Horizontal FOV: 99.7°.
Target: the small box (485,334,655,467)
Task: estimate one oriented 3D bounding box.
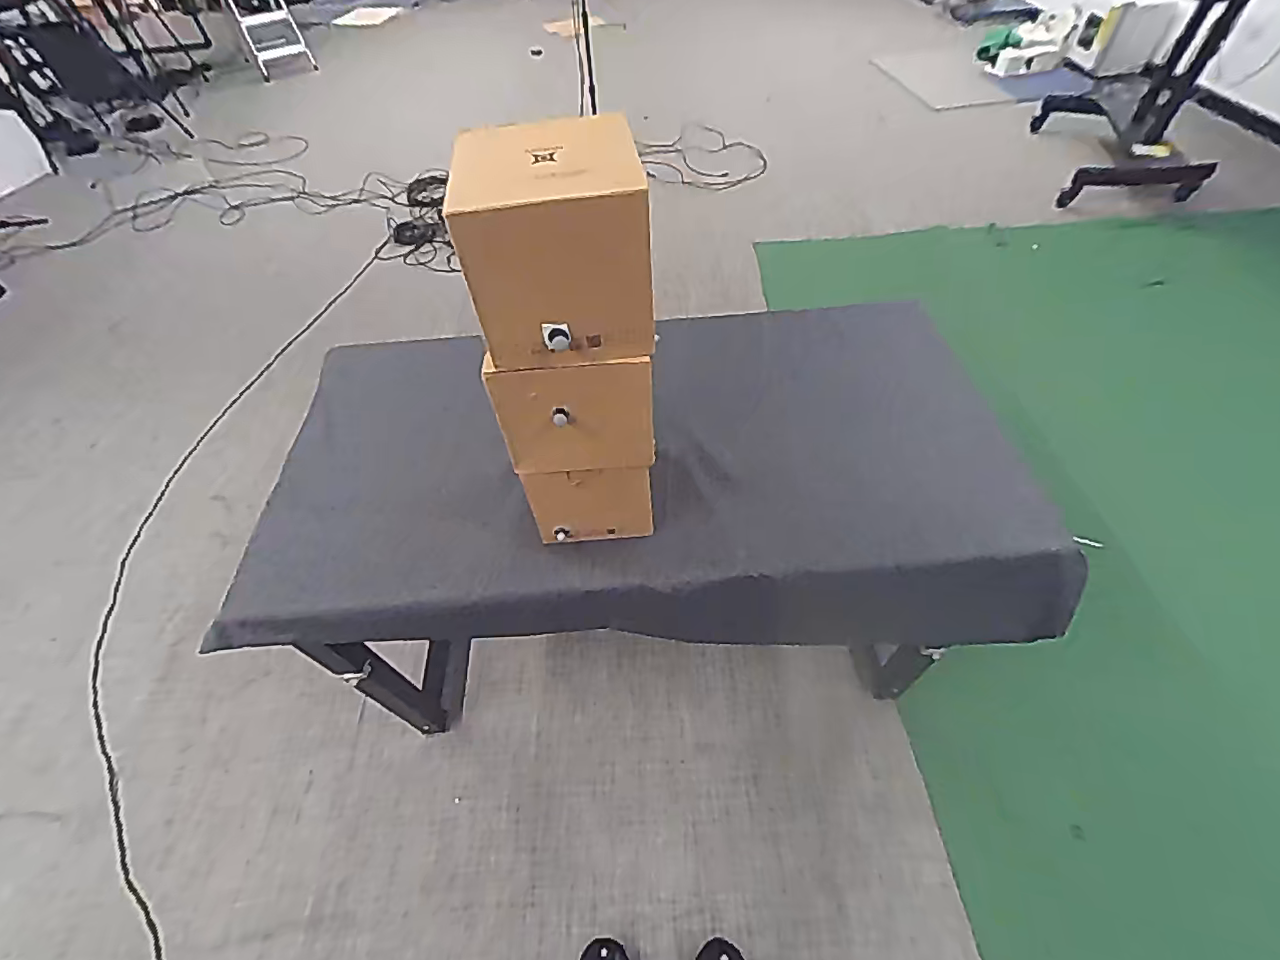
[{"bbox_3d":[-0.078,-0.131,0.674,0.179,0.176,0.168,-6,50,-2],"label":"small box"}]

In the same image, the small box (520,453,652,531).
[{"bbox_3d":[-0.072,-0.036,0.803,0.168,0.176,0.179,-5,51,0],"label":"small box"}]

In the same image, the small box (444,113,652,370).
[{"bbox_3d":[-0.083,-0.238,0.547,0.168,0.176,0.179,-10,53,-2],"label":"small box"}]
